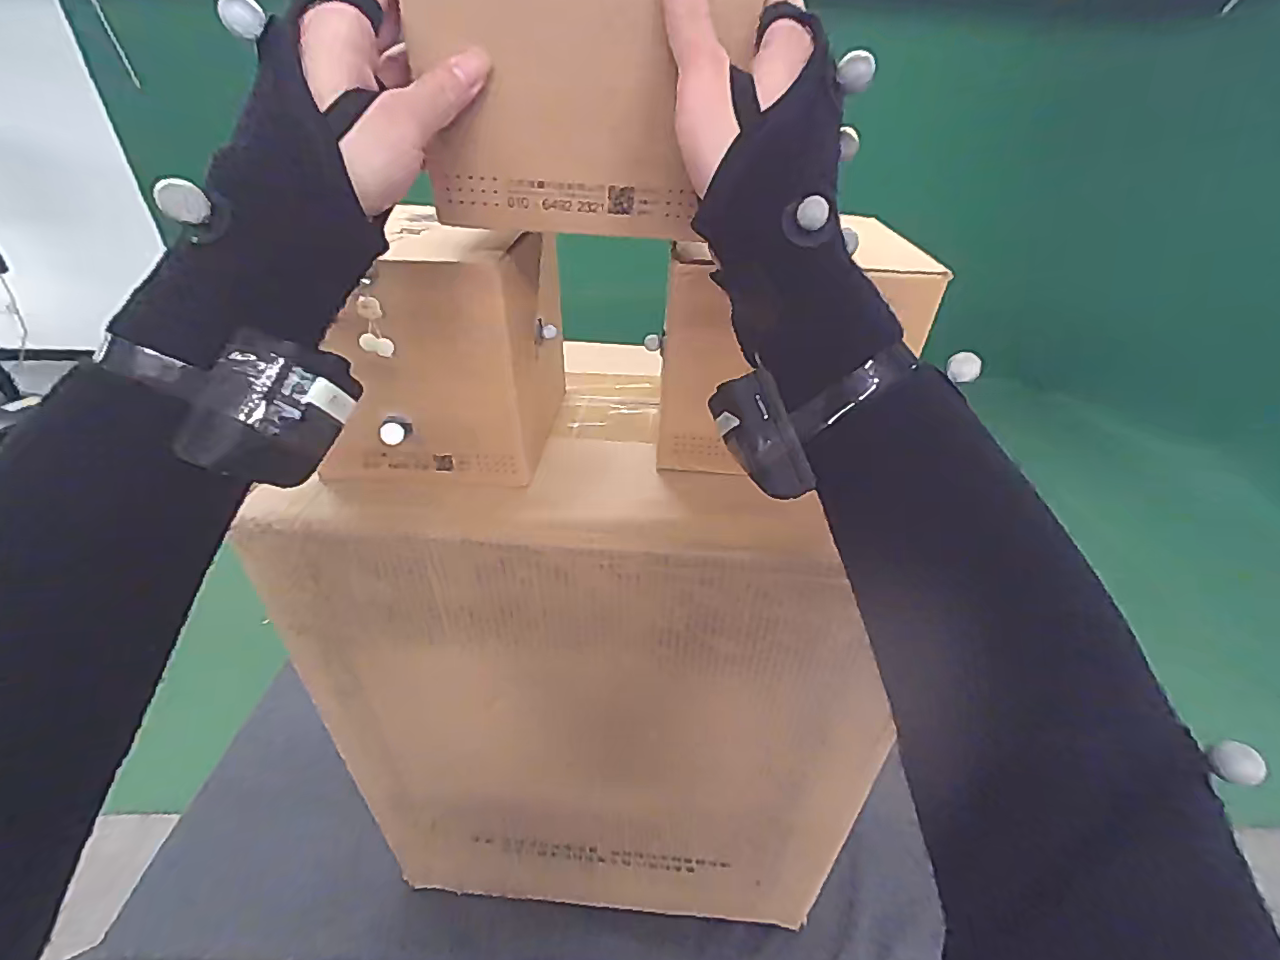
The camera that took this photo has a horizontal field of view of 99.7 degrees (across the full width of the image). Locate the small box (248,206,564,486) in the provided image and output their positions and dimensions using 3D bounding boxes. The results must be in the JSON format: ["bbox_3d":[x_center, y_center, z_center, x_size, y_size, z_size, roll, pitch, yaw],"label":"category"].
[{"bbox_3d":[-0.159,-0.115,0.443,0.168,0.176,0.179,2,36,3],"label":"small box"}]

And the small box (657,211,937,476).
[{"bbox_3d":[0.107,-0.118,0.458,0.179,0.176,0.168,5,37,0],"label":"small box"}]

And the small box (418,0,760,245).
[{"bbox_3d":[-0.030,-0.262,0.327,0.168,0.176,0.179,2,43,-5],"label":"small box"}]
